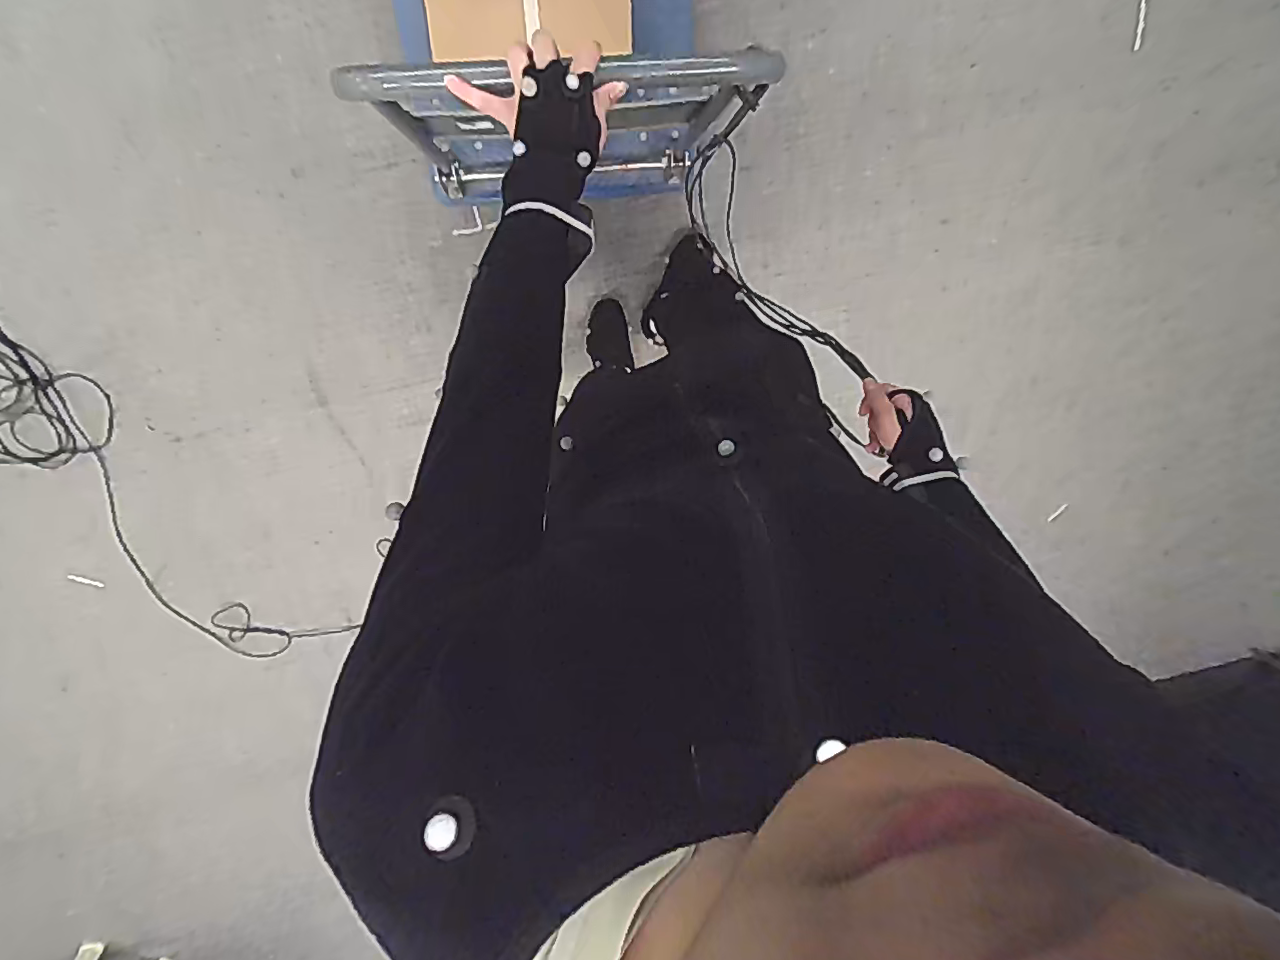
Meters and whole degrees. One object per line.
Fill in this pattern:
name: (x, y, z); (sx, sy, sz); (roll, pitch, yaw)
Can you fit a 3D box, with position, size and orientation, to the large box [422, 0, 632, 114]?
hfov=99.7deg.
large box: (-0.190, -0.886, 0.904); (0.320, 0.320, 0.408); (-4, 113, -7)
